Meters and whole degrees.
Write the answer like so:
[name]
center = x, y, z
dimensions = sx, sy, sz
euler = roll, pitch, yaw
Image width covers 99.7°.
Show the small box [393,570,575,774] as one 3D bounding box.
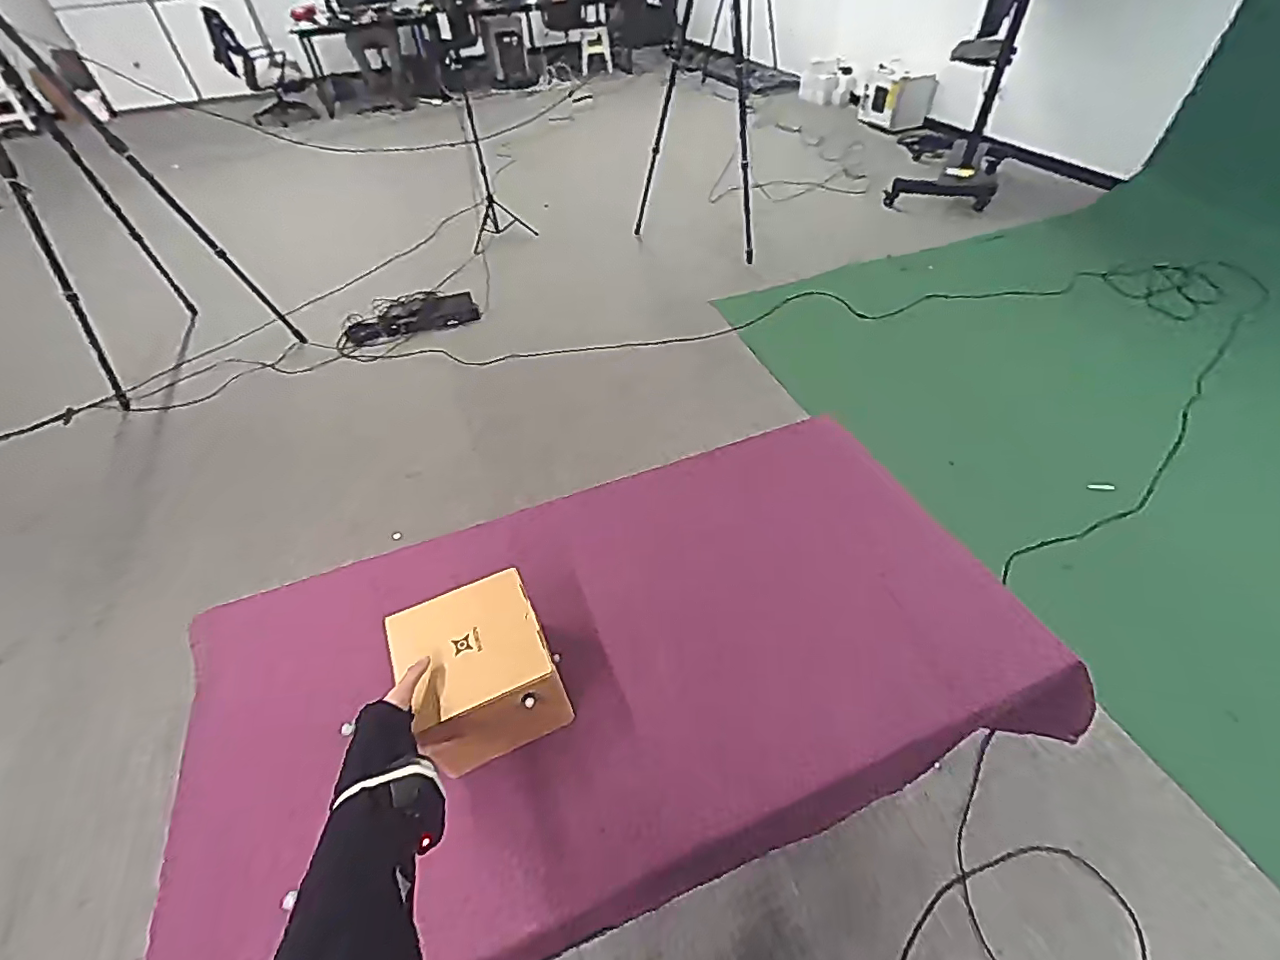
[small box]
center = -0.204, 0.259, 0.726
dimensions = 0.179, 0.176, 0.168
euler = -21, 49, -16
